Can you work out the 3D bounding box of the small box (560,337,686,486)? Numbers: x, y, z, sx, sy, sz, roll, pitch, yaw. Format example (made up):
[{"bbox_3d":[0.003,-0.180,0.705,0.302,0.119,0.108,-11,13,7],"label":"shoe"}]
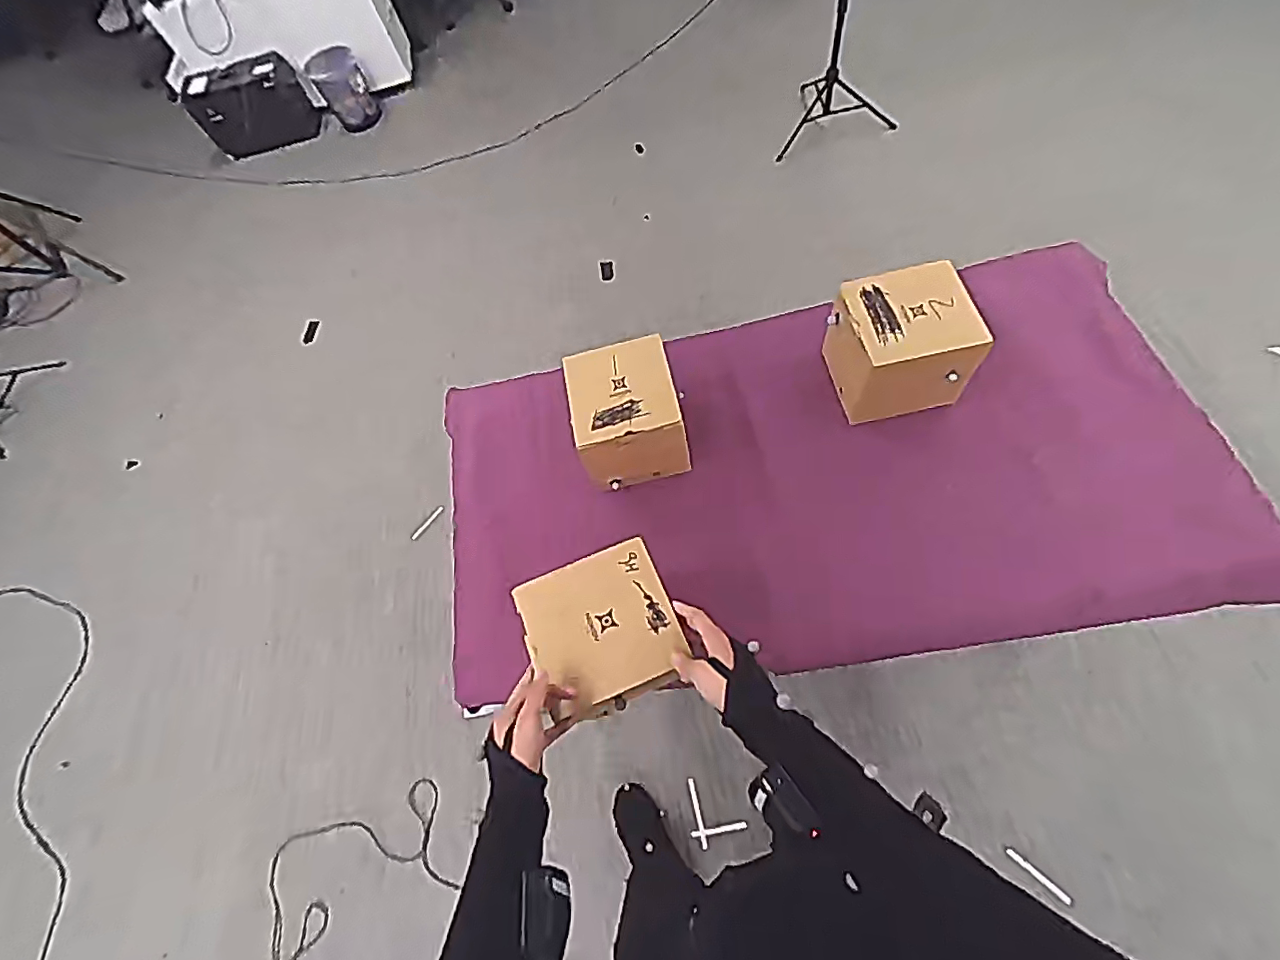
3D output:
[{"bbox_3d":[-0.023,-0.103,0.908,0.168,0.176,0.179,-14,63,3],"label":"small box"}]

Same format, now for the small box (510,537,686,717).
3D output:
[{"bbox_3d":[-0.047,0.203,0.719,0.179,0.176,0.168,-22,66,-6],"label":"small box"}]
